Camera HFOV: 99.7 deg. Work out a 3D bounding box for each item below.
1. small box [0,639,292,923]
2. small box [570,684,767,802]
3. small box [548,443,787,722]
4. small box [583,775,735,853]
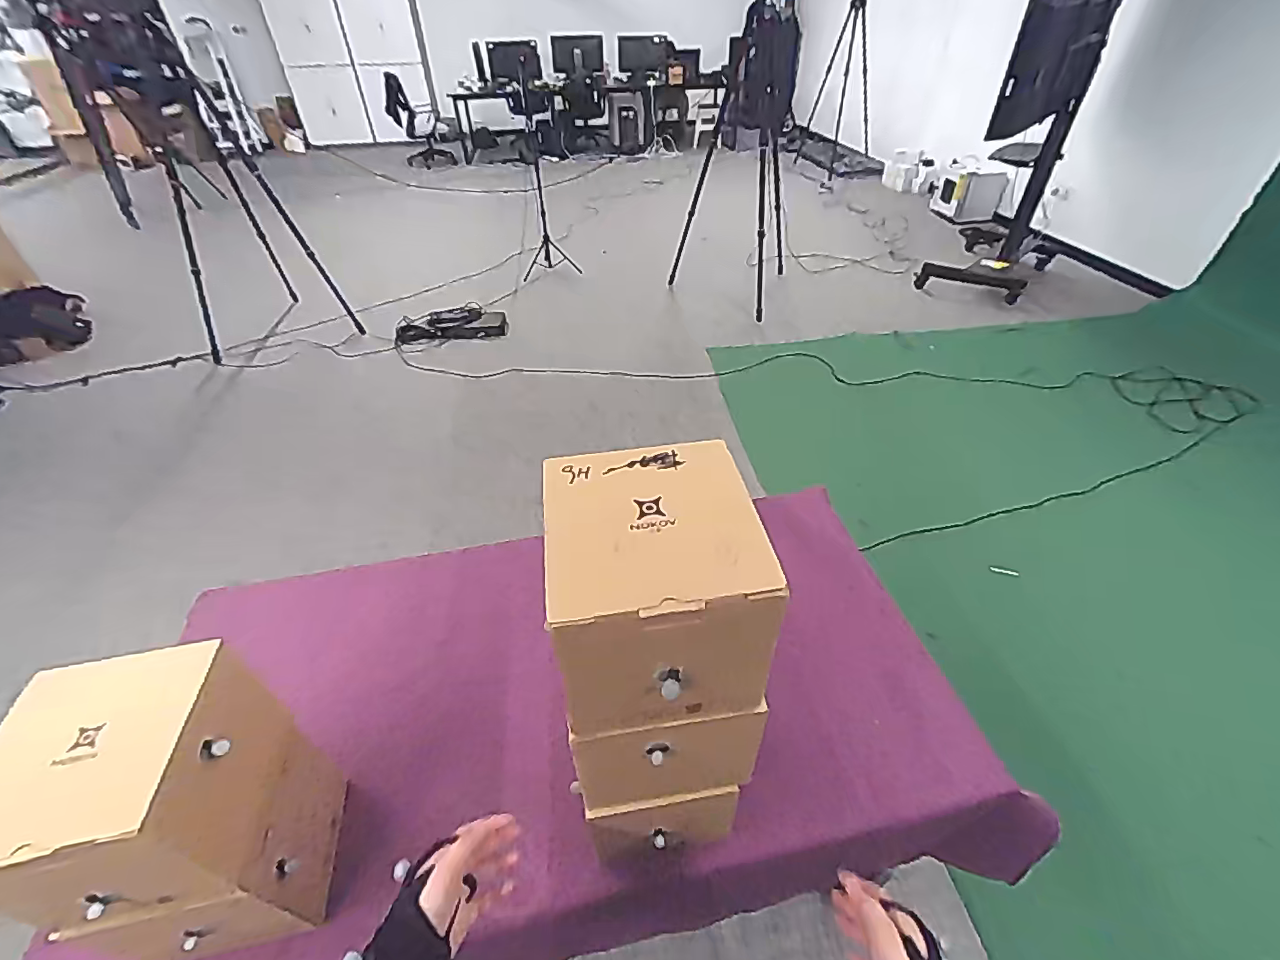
[{"bbox_3d":[-0.471,0.285,0.520,0.168,0.176,0.179,-9,43,-8],"label":"small box"},{"bbox_3d":[0.019,0.221,0.578,0.179,0.176,0.168,-6,42,-5],"label":"small box"},{"bbox_3d":[0.013,0.092,0.475,0.168,0.176,0.179,-6,42,-5],"label":"small box"},{"bbox_3d":[0.015,0.346,0.685,0.168,0.176,0.179,-6,42,-6],"label":"small box"}]
